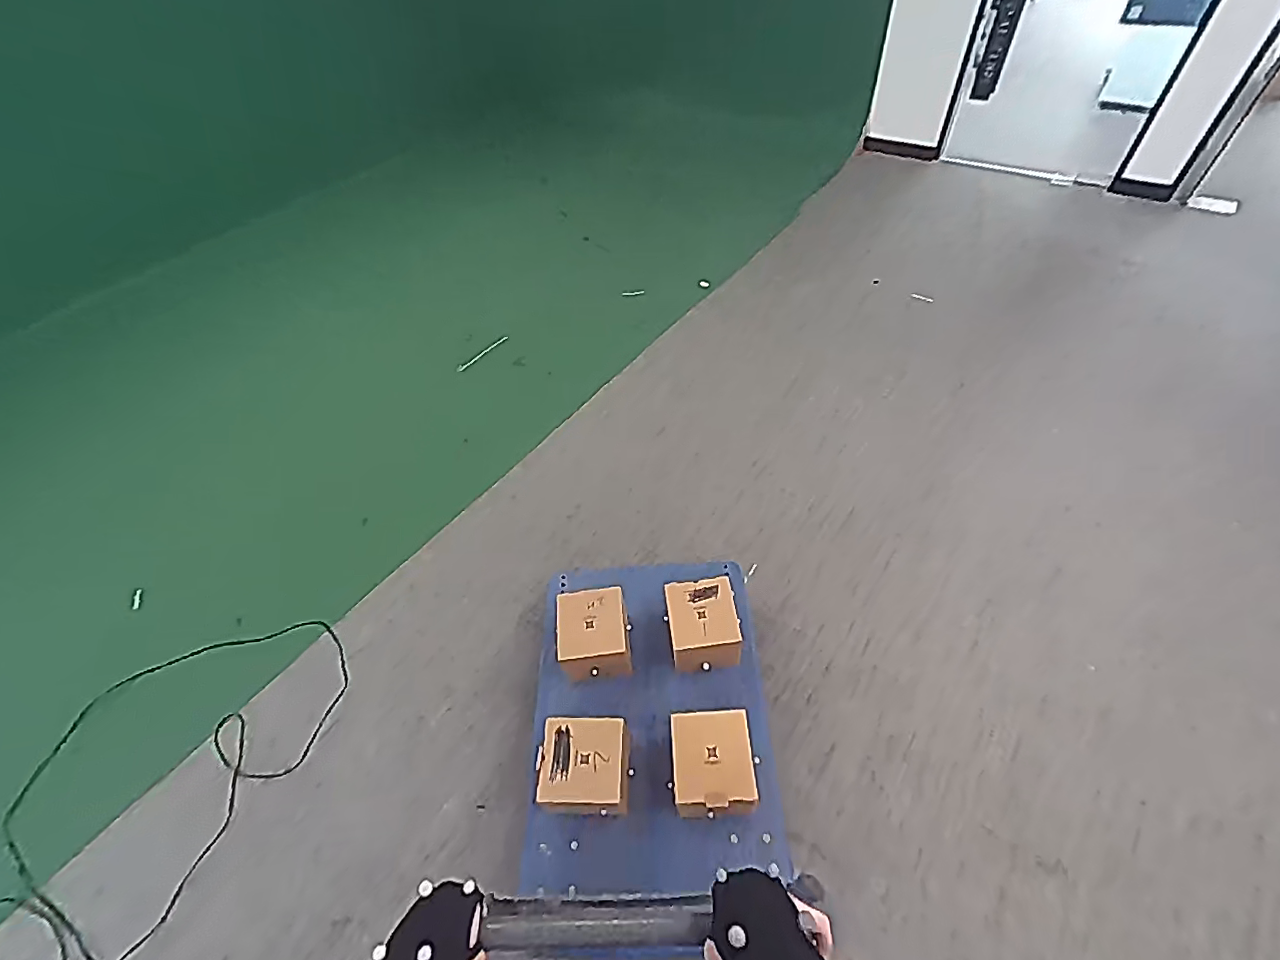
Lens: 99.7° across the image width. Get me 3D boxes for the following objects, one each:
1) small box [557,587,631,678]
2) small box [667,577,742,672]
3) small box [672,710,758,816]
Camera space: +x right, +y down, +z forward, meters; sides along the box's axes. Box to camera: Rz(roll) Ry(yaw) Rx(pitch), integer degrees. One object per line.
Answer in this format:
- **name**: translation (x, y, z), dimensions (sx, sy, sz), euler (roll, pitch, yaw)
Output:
- **small box**: translation (-0.116, 0.397, 1.390), dimensions (0.168, 0.176, 0.179), euler (-7, 52, 0)
- **small box**: translation (0.159, 0.371, 1.381), dimensions (0.168, 0.176, 0.179), euler (-8, 53, 1)
- **small box**: translation (0.158, 0.623, 1.186), dimensions (0.168, 0.176, 0.179), euler (-5, 52, 3)
